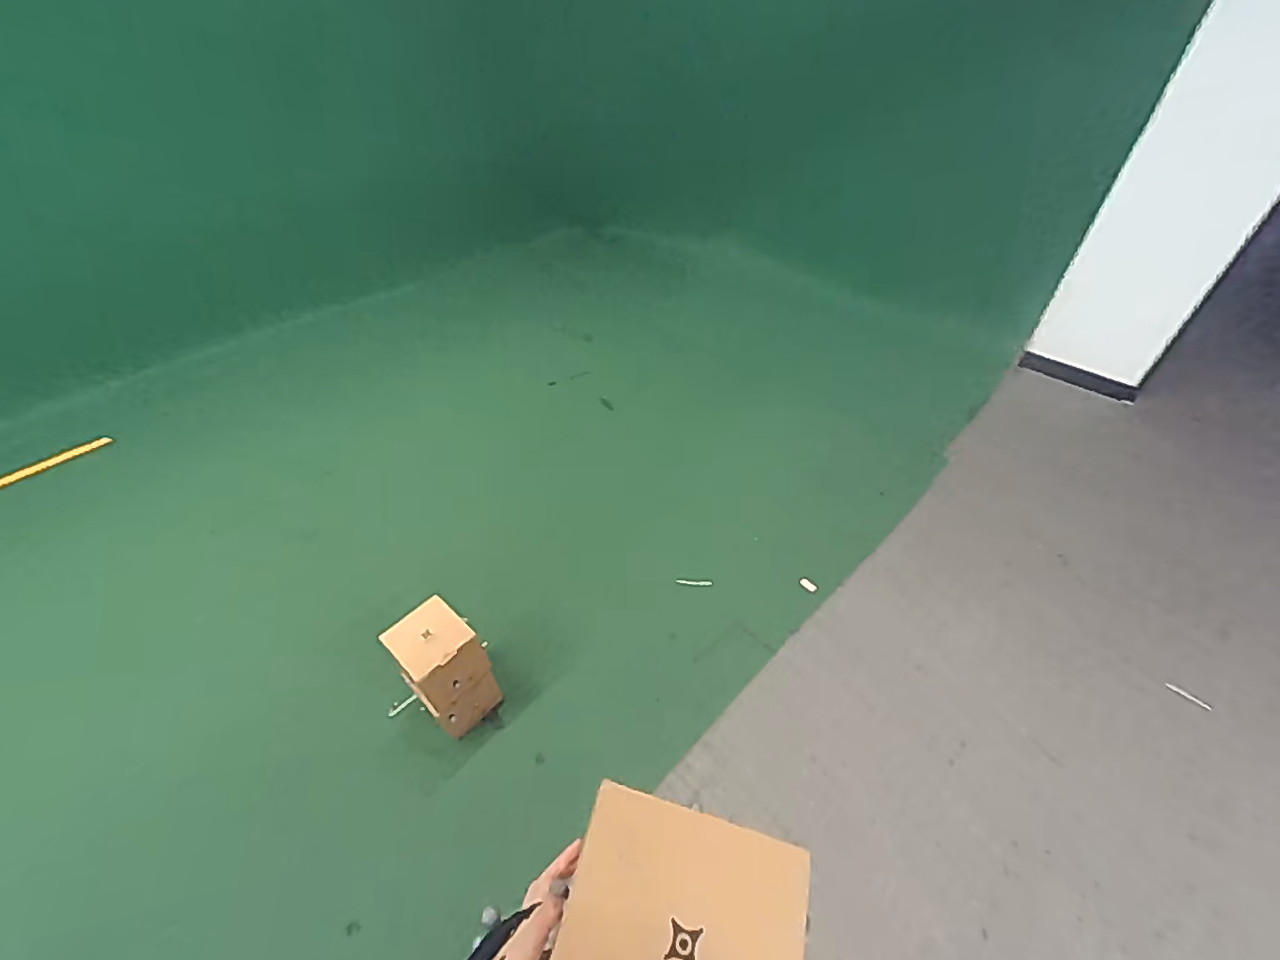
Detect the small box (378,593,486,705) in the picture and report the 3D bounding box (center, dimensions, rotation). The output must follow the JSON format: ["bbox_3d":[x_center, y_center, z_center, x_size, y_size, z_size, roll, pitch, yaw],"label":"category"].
[{"bbox_3d":[-0.516,0.426,1.355,0.179,0.176,0.168,32,53,28],"label":"small box"}]

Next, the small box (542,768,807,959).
[{"bbox_3d":[0.017,0.359,0.430,0.168,0.176,0.179,17,55,5],"label":"small box"}]
